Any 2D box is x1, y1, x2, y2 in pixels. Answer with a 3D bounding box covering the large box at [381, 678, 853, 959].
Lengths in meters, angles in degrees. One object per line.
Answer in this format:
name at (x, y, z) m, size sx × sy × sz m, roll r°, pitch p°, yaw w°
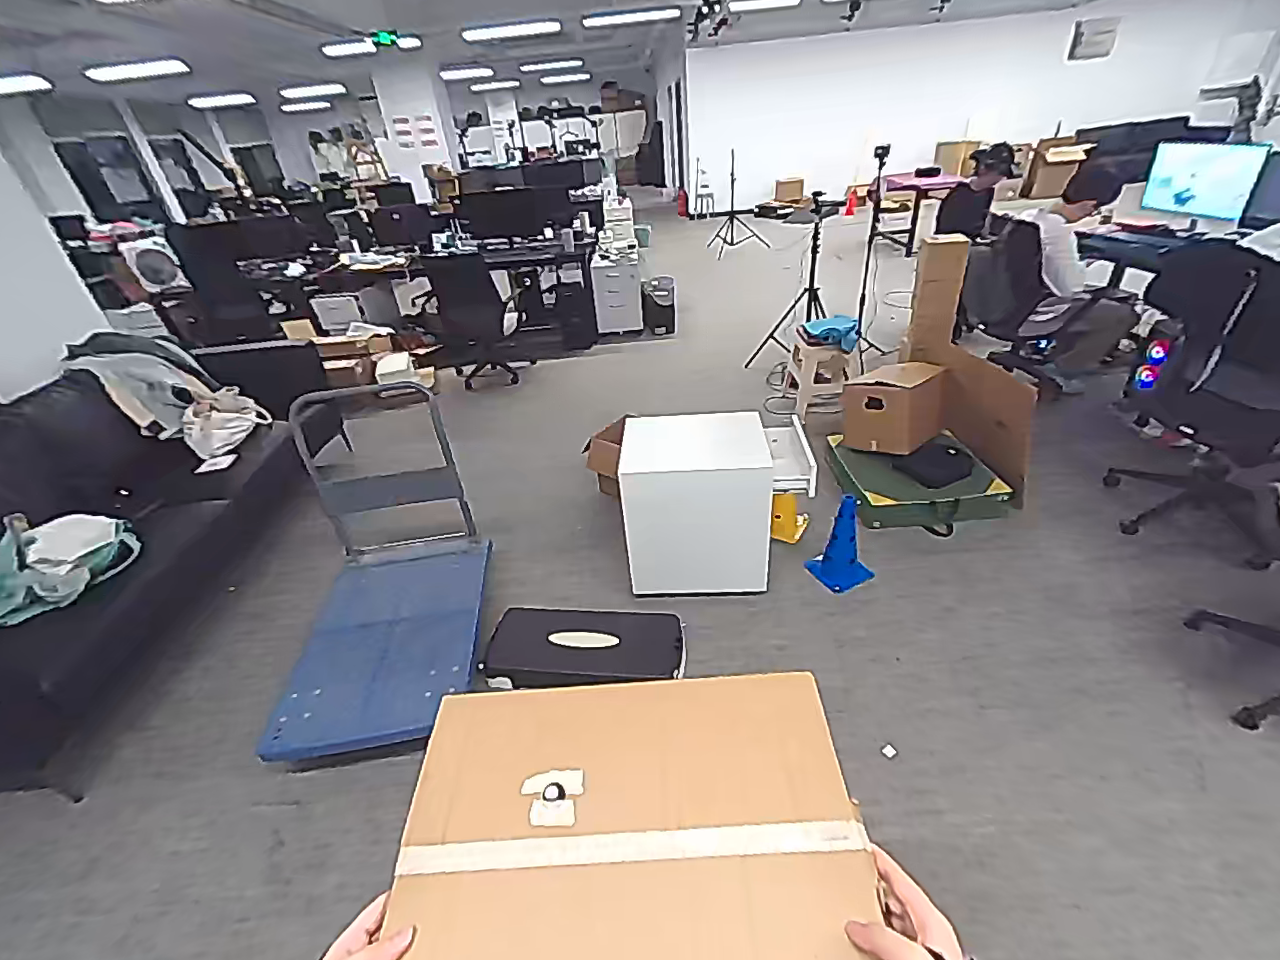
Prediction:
large box at (0.007, 0.427, 0.601) m, size 0.408 × 0.320 × 0.320 m, roll -1°, pitch 55°, yaw 14°
